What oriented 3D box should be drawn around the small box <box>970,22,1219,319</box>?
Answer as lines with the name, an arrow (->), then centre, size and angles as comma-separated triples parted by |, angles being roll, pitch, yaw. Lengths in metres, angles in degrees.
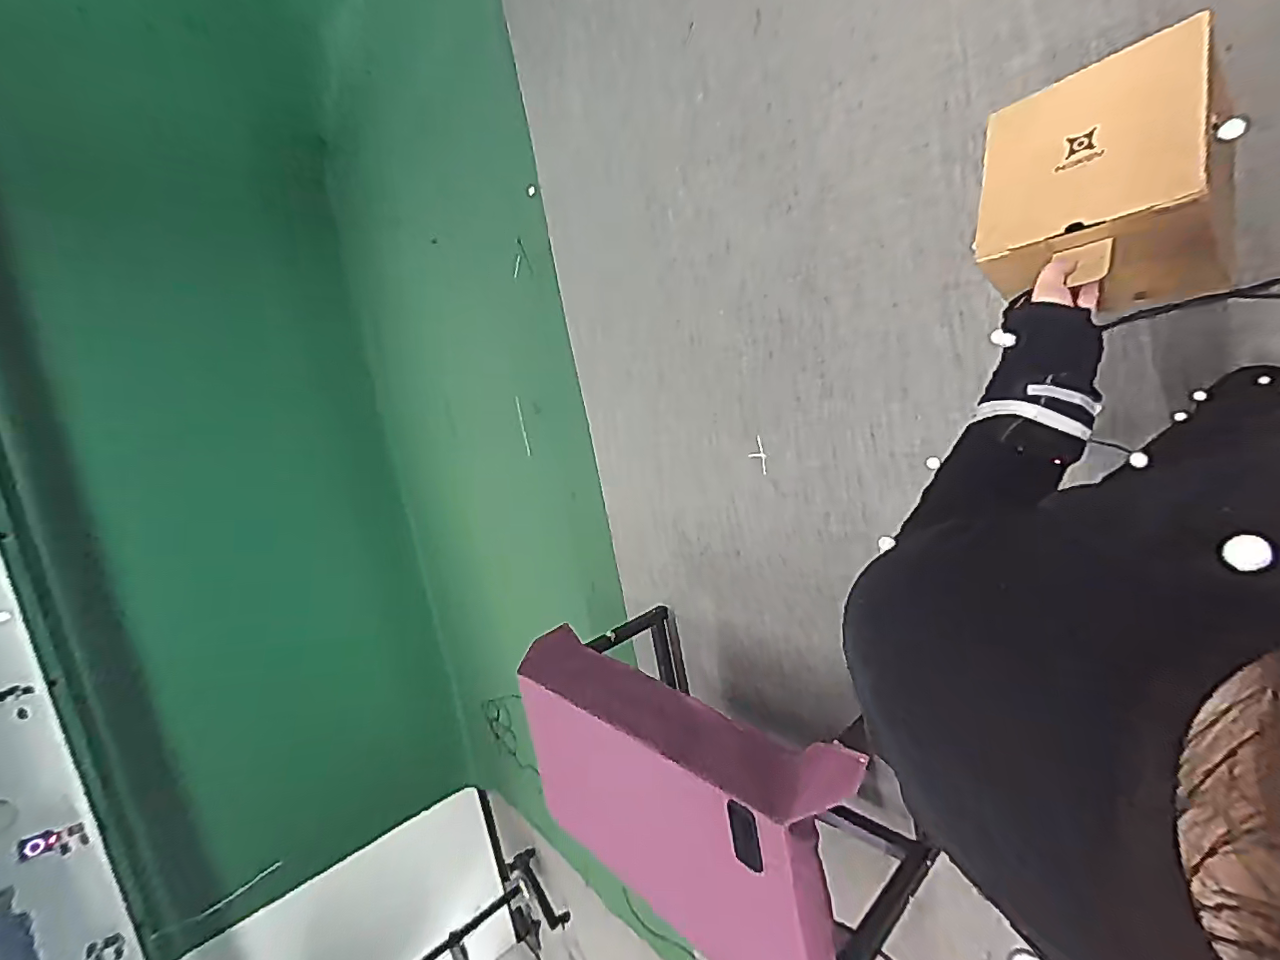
small box -> 0.475, -0.297, 0.565 | 0.168, 0.176, 0.179 | 0, 76, 52
